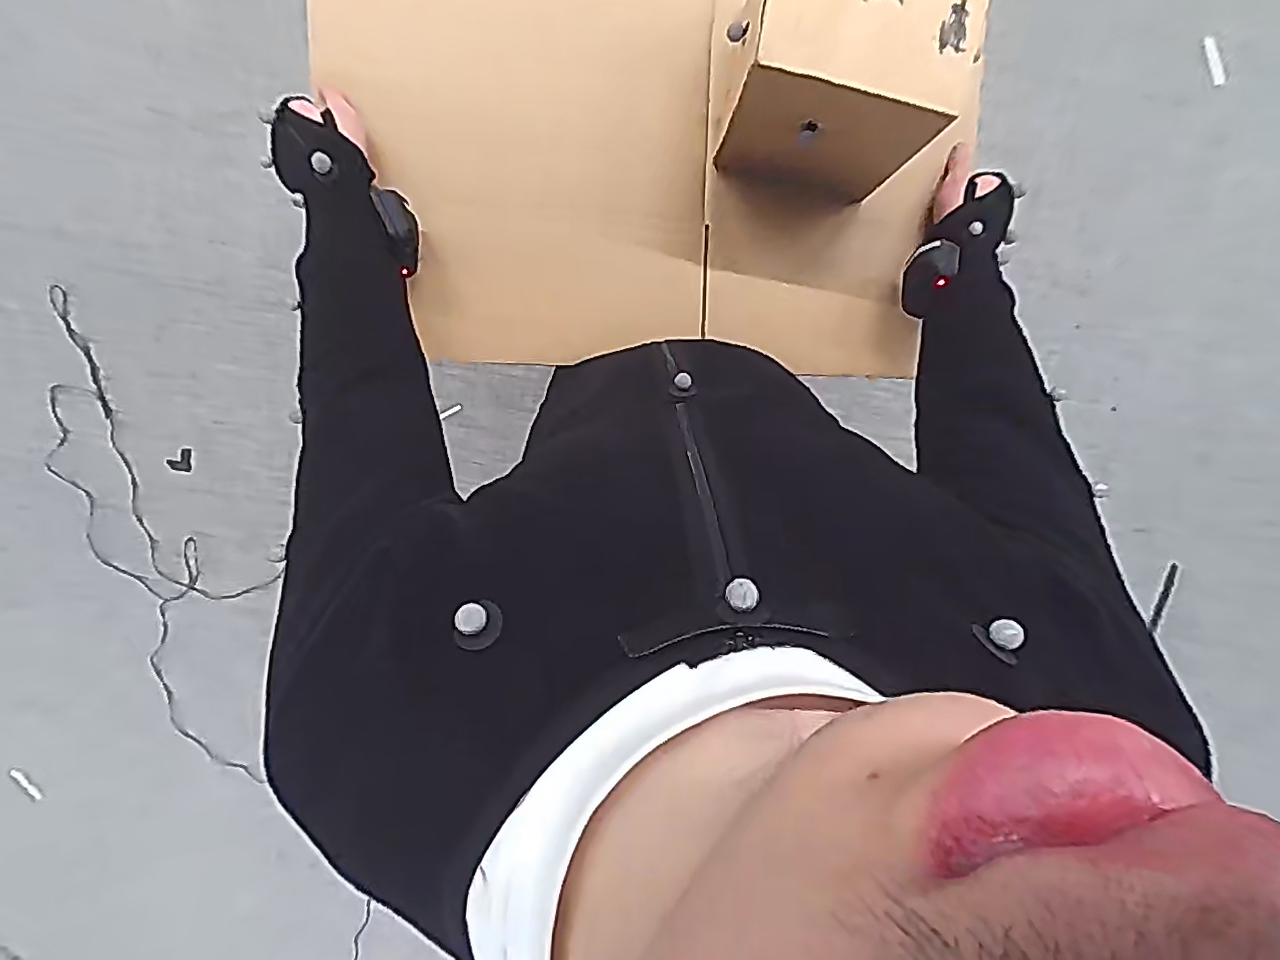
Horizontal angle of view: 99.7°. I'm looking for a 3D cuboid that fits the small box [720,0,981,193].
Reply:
[{"bbox_3d":[0.185,-0.401,0.510,0.179,0.176,0.168,11,96,-4],"label":"small box"}]
